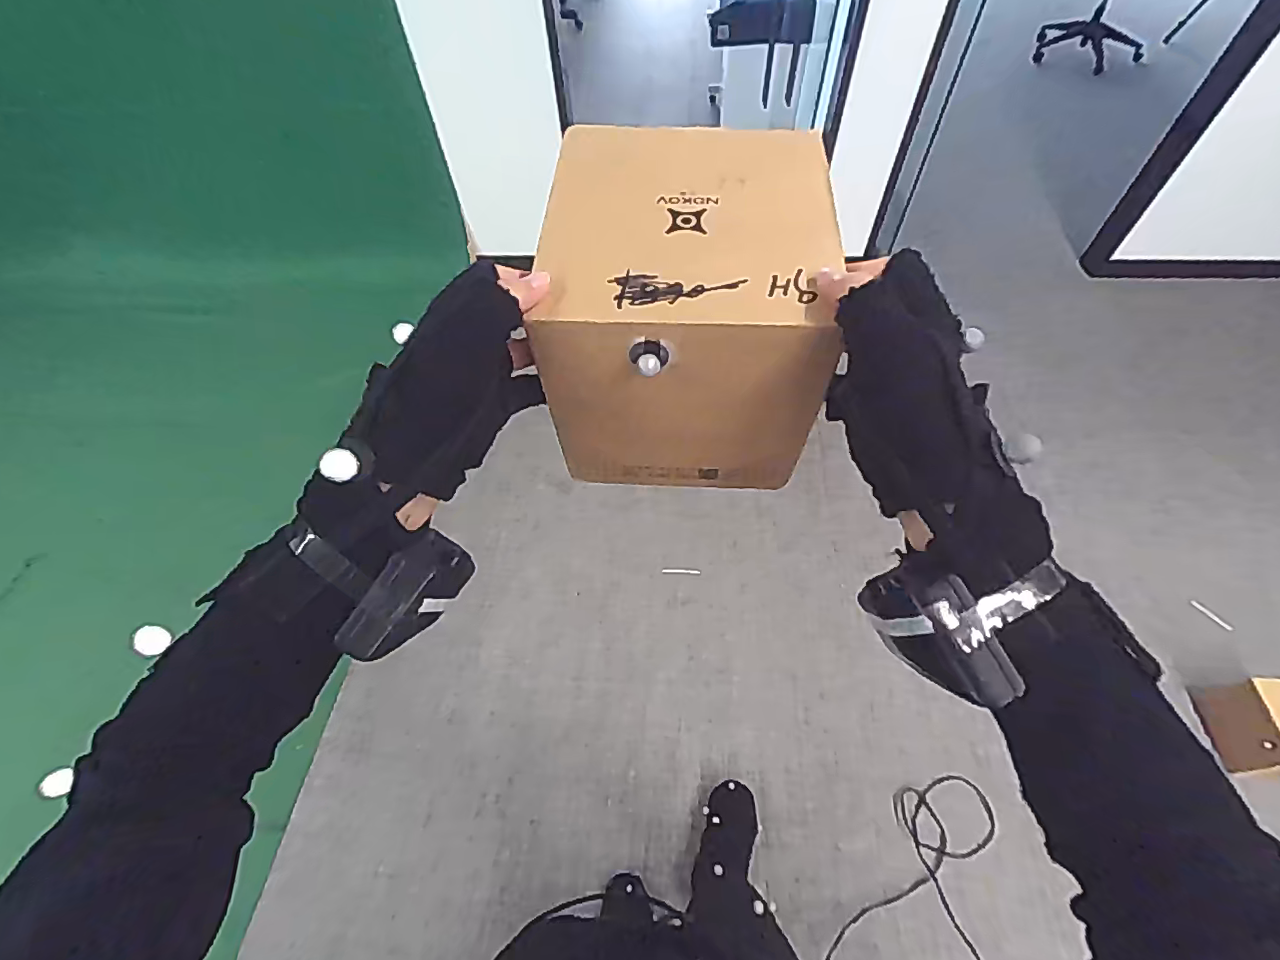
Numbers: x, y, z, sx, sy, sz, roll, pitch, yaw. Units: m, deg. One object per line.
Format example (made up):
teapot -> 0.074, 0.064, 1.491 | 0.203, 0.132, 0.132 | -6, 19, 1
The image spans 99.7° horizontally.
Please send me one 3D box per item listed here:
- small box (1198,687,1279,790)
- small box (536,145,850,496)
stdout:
small box -> 1.428, 0.581, 1.207 | 0.168, 0.176, 0.179 | 2, 55, 4
small box -> 0.035, -0.108, 0.389 | 0.168, 0.176, 0.179 | 3, 59, 4
